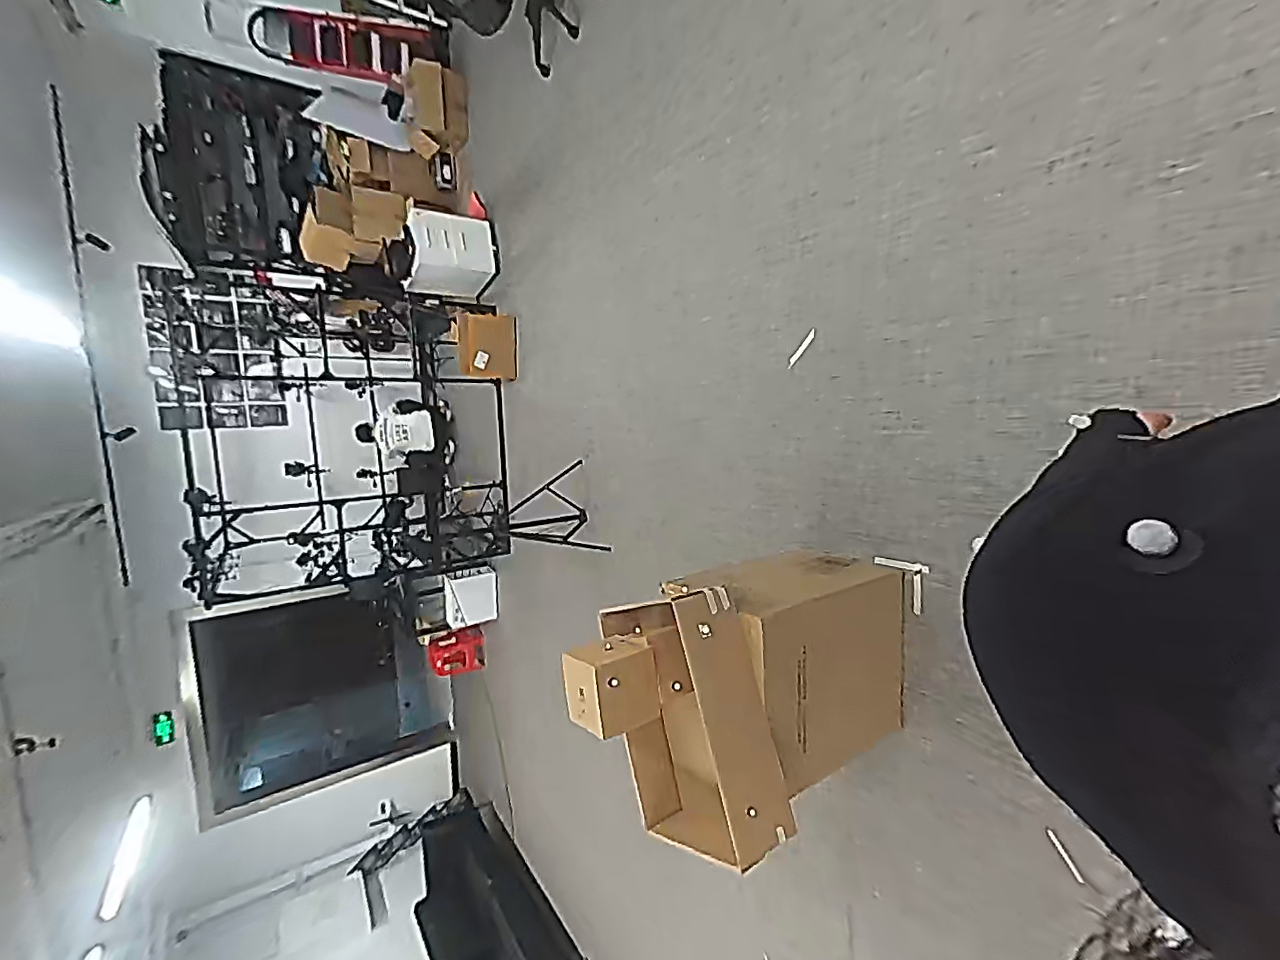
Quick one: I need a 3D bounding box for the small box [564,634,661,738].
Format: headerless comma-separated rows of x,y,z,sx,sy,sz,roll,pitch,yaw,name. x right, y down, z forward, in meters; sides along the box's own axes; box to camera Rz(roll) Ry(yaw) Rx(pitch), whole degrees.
-0.067,0.496,1.335,0.168,0.176,0.179,-5,93,55,small box
